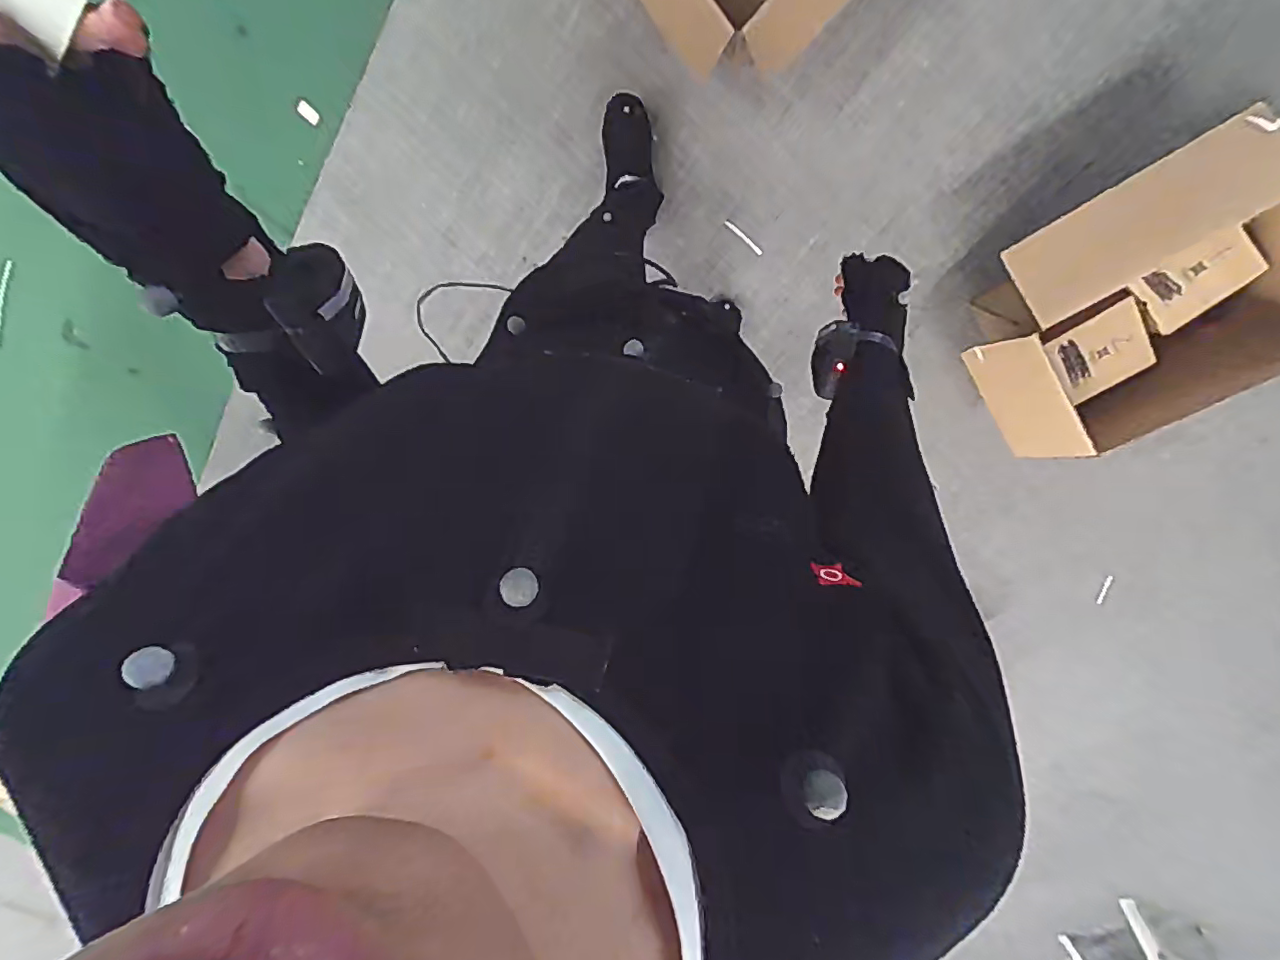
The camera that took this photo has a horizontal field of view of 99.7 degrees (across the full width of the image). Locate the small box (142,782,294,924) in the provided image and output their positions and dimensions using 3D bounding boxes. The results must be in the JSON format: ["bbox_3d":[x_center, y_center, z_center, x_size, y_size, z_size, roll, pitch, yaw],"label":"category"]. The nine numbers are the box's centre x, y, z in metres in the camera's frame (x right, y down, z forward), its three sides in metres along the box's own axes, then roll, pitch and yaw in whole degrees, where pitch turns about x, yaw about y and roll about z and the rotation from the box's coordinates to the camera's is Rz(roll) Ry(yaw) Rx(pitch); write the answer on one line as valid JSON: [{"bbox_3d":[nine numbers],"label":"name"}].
[{"bbox_3d":[-0.874,0.777,1.137,0.168,0.176,0.179,38,115,-11],"label":"small box"}]
